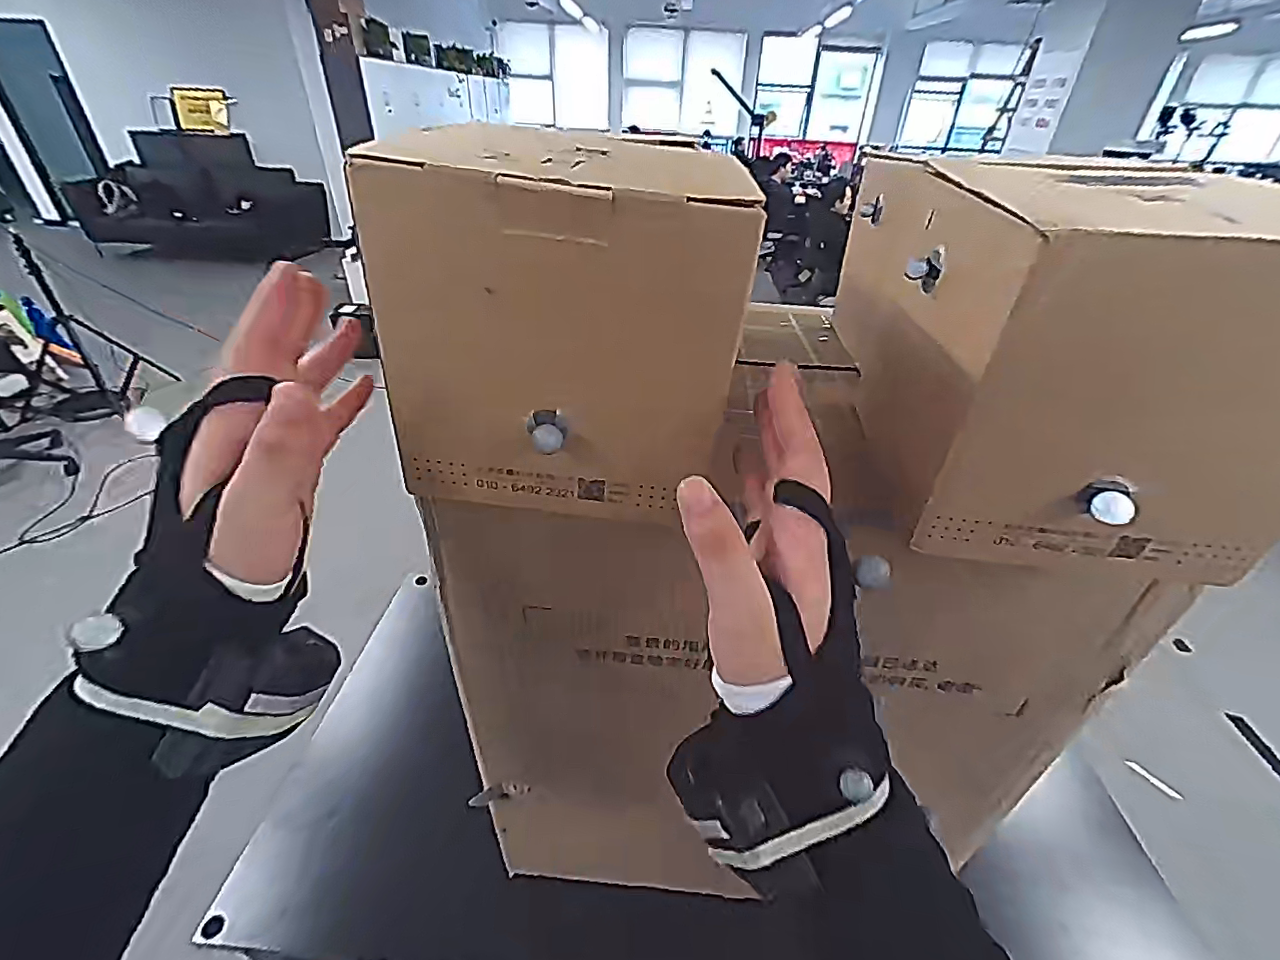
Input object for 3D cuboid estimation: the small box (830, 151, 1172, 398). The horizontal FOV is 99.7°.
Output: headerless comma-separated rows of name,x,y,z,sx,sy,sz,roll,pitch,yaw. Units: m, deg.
small box,0.276,-0.186,0.472,0.168,0.176,0.179,3,33,6
